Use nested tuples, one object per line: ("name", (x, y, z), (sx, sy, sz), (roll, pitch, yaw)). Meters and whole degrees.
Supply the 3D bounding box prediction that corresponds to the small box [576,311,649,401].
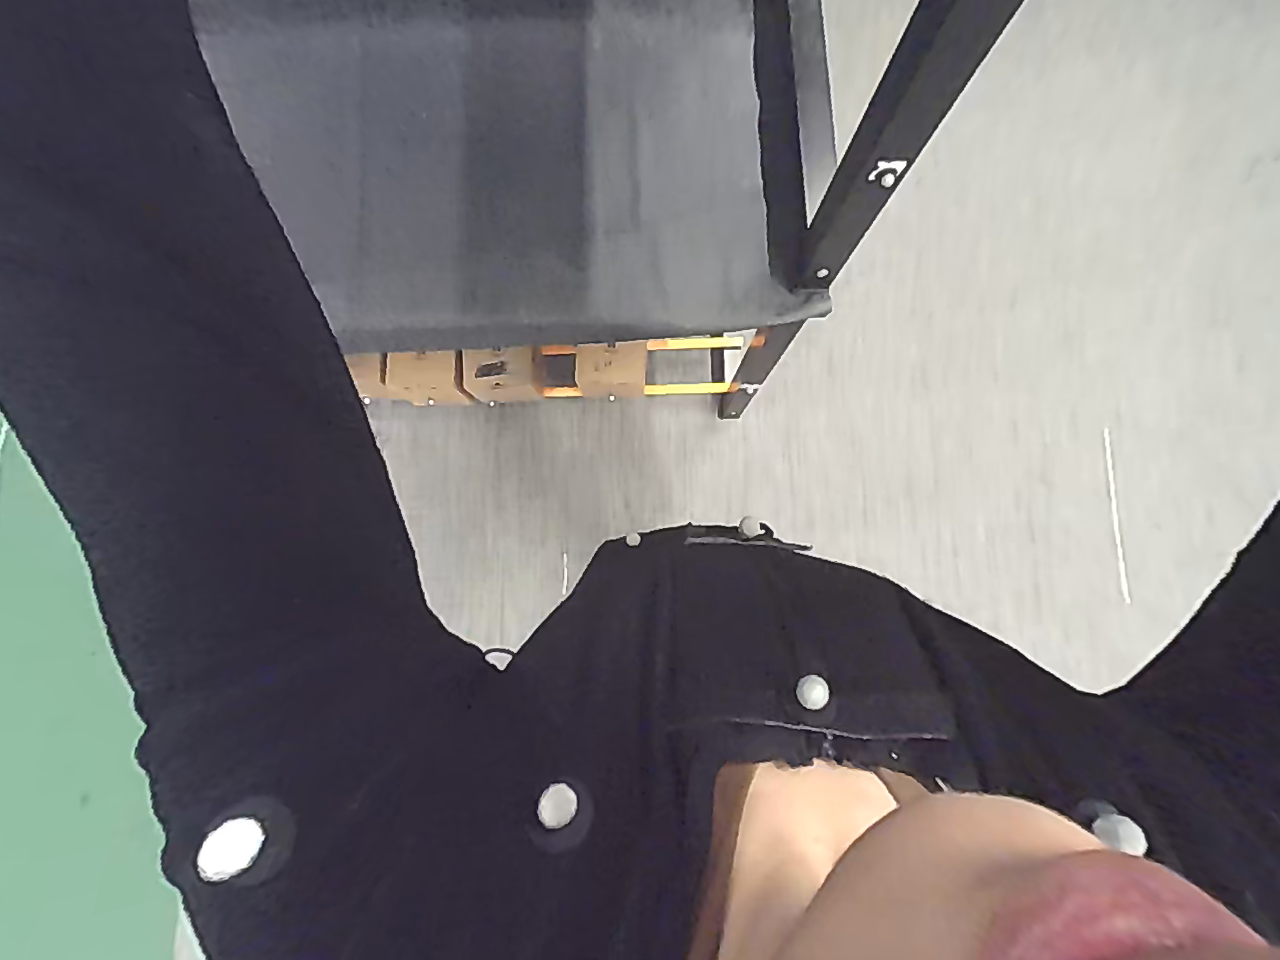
("small box", (-0.066, -0.312, 1.386), (0.168, 0.176, 0.179), (4, 85, 2))
